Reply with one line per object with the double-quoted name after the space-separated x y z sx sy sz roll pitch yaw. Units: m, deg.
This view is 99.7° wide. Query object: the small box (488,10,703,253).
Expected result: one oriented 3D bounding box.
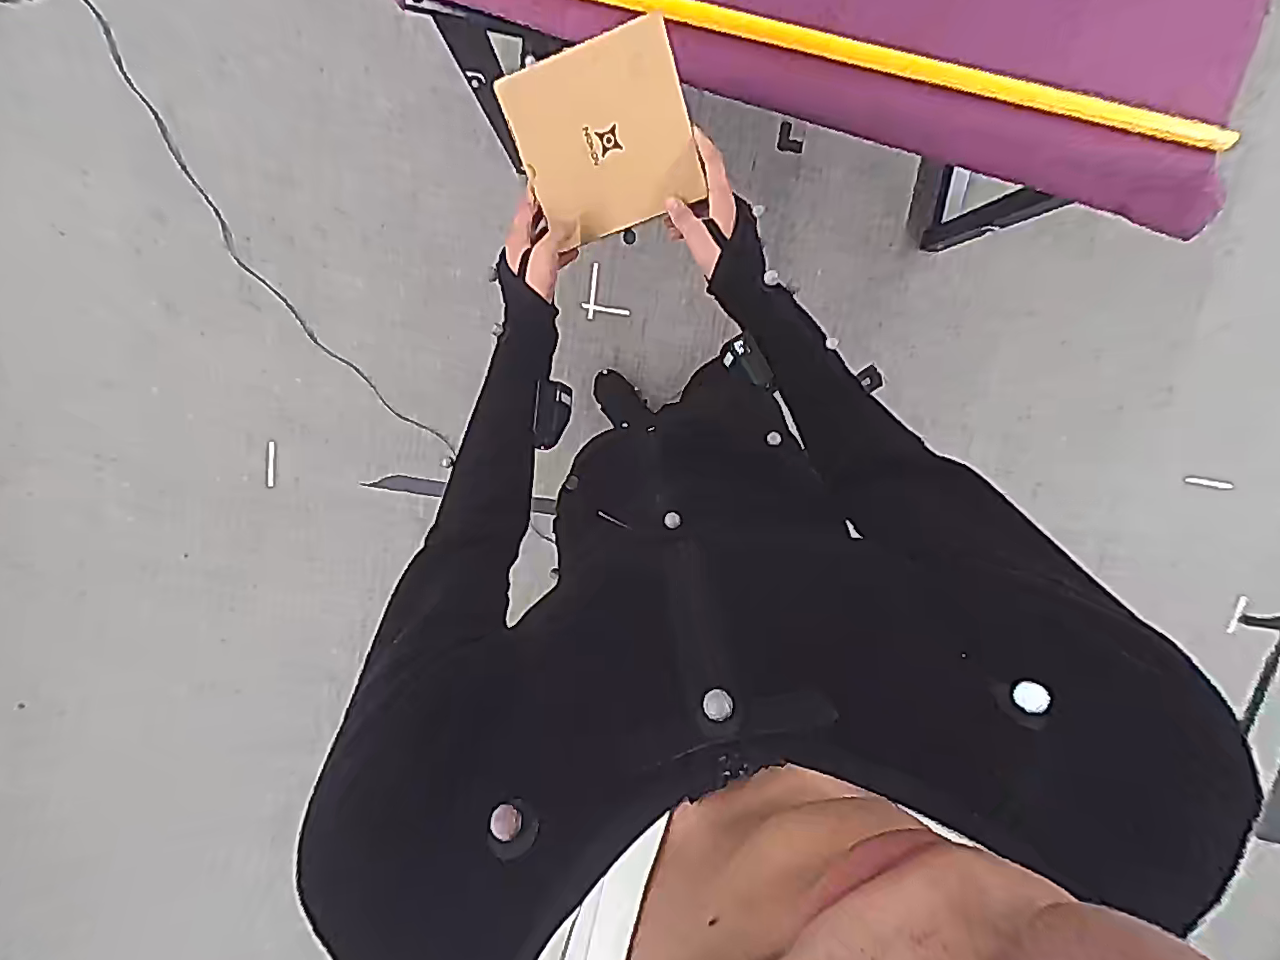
-0.040 -0.374 0.609 0.179 0.176 0.168 -16 115 10 "small box"
